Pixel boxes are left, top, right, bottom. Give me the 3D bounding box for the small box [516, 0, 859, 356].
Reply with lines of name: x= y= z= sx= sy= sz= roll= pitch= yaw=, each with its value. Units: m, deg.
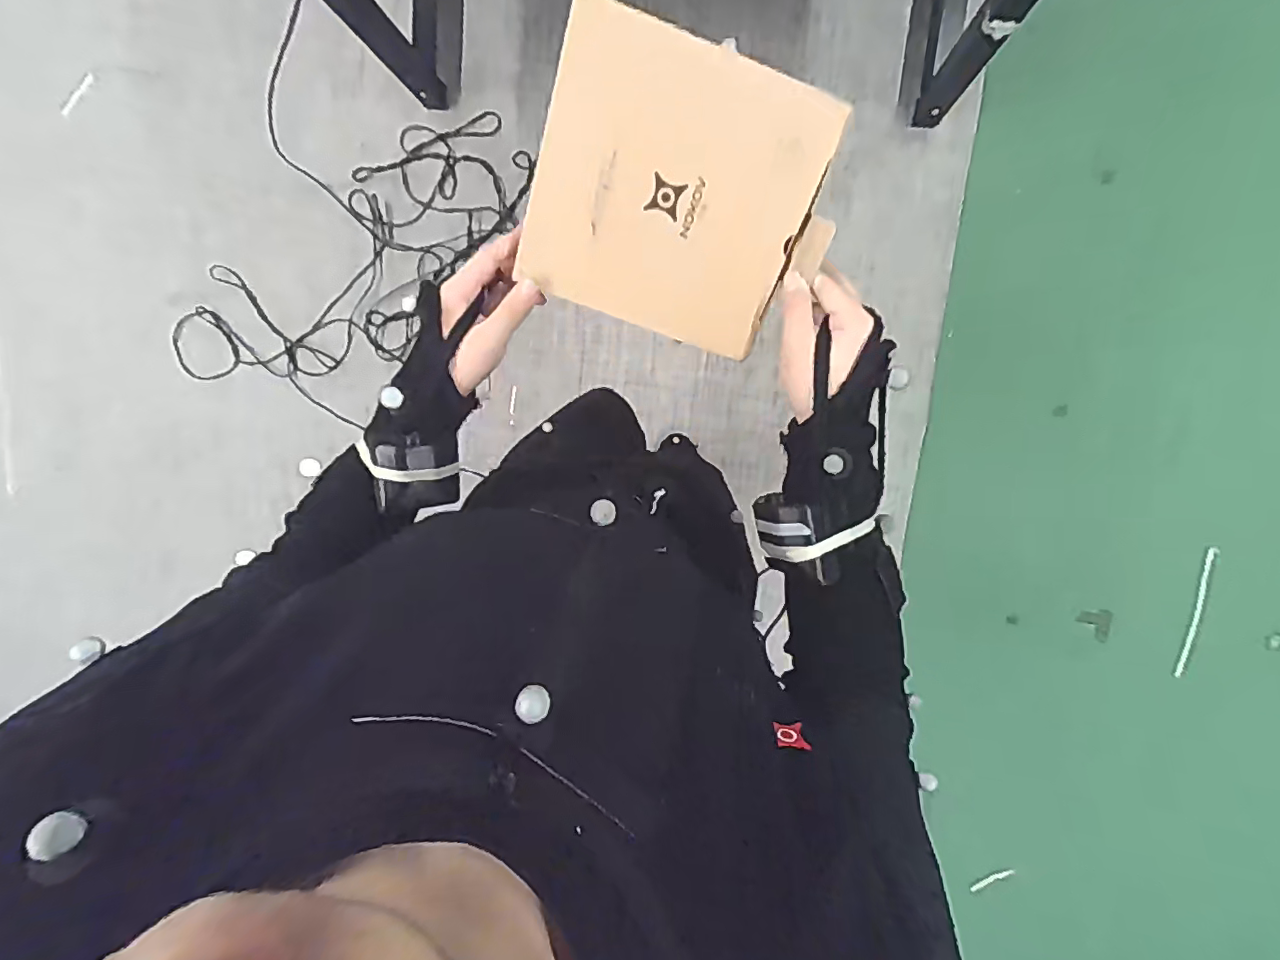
small box: x=0.026 y=-0.215 z=0.412 sx=0.179 sy=0.176 sz=0.168 roll=17 pitch=114 yaw=-5
